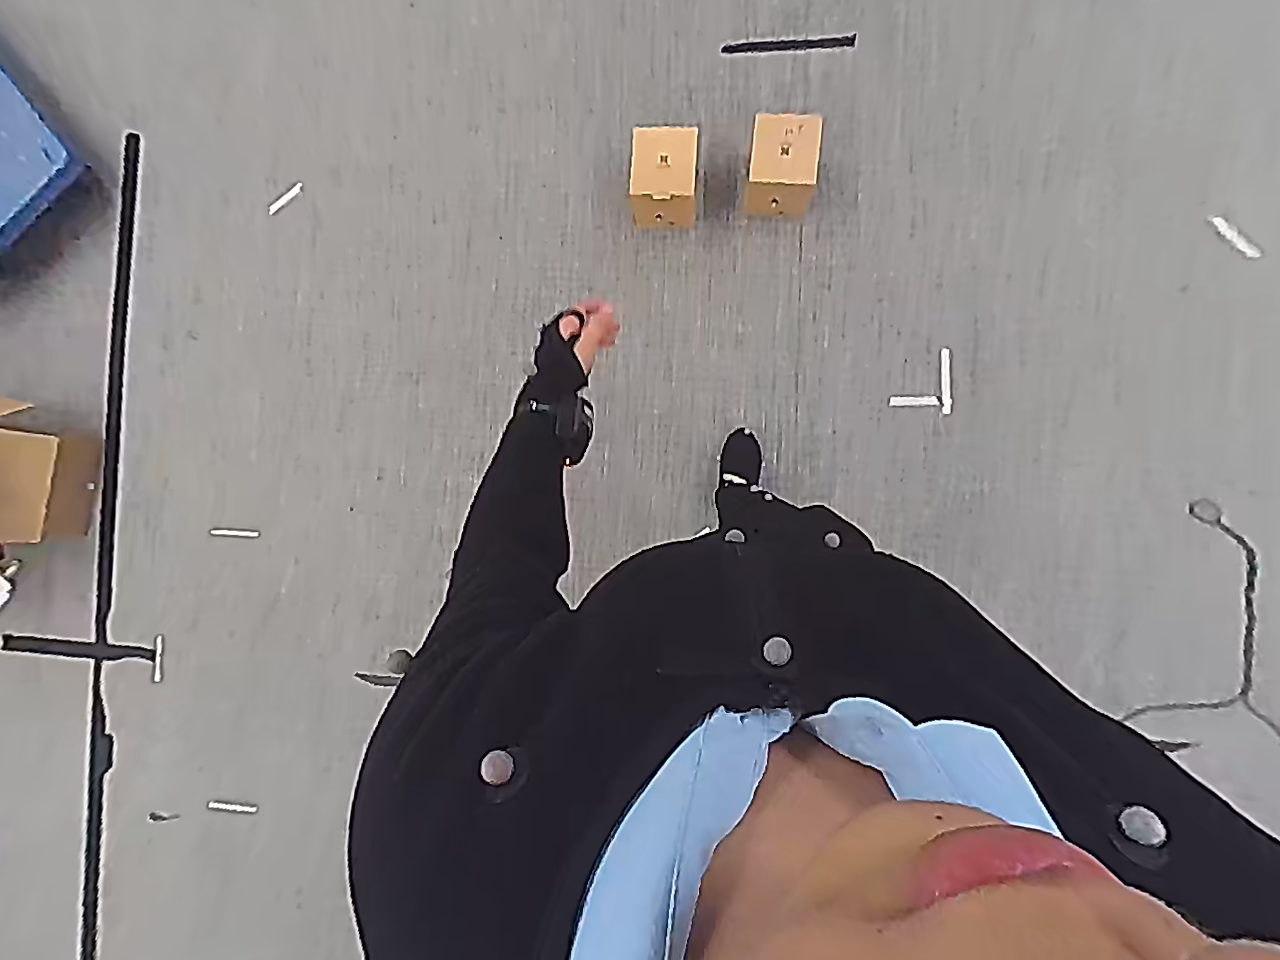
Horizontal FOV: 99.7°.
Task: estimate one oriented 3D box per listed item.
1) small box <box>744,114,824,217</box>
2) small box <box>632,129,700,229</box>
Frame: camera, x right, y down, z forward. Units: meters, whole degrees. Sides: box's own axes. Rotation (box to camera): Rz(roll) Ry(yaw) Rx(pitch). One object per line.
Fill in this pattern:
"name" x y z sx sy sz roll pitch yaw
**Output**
"small box" 0.368 -0.810 1.408 0.168 0.176 0.179 6 89 5
"small box" 0.072 -0.796 1.439 0.168 0.176 0.179 3 89 6
